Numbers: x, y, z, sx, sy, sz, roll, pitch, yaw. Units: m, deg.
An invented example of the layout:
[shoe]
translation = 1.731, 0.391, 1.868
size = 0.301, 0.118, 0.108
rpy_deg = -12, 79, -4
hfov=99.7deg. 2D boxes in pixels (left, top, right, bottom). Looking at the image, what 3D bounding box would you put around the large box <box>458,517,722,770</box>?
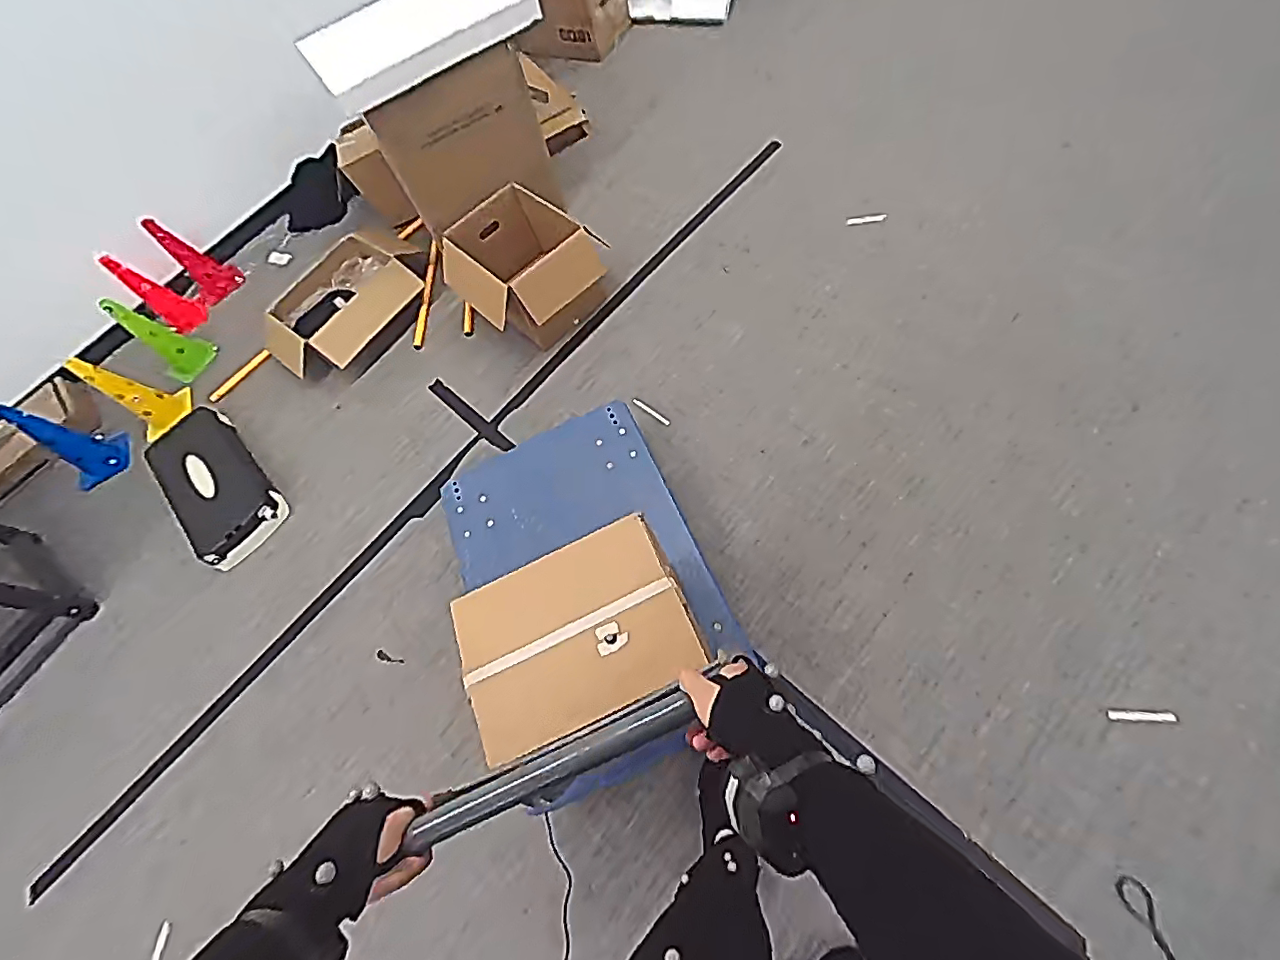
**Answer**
[large box]
translation = -0.088, 0.343, 1.096
size = 0.408, 0.320, 0.320
rpy_deg = -26, 61, -1
